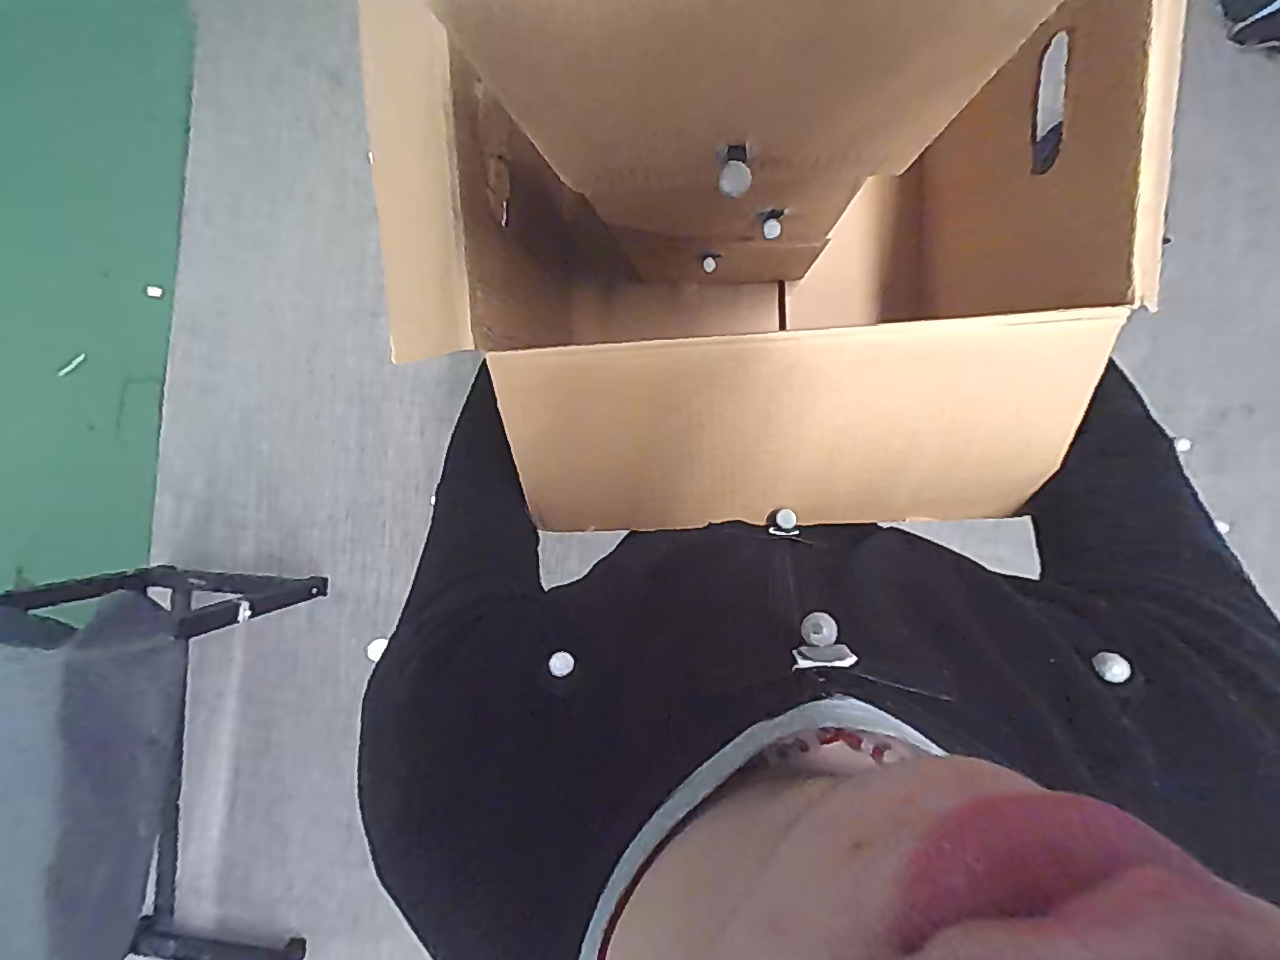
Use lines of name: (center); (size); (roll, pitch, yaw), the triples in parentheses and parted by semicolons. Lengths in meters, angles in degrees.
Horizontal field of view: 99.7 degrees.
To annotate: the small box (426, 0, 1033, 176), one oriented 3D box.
small box: (0.032, -0.222, 0.183); (0.179, 0.176, 0.168); (1, 101, 7)
